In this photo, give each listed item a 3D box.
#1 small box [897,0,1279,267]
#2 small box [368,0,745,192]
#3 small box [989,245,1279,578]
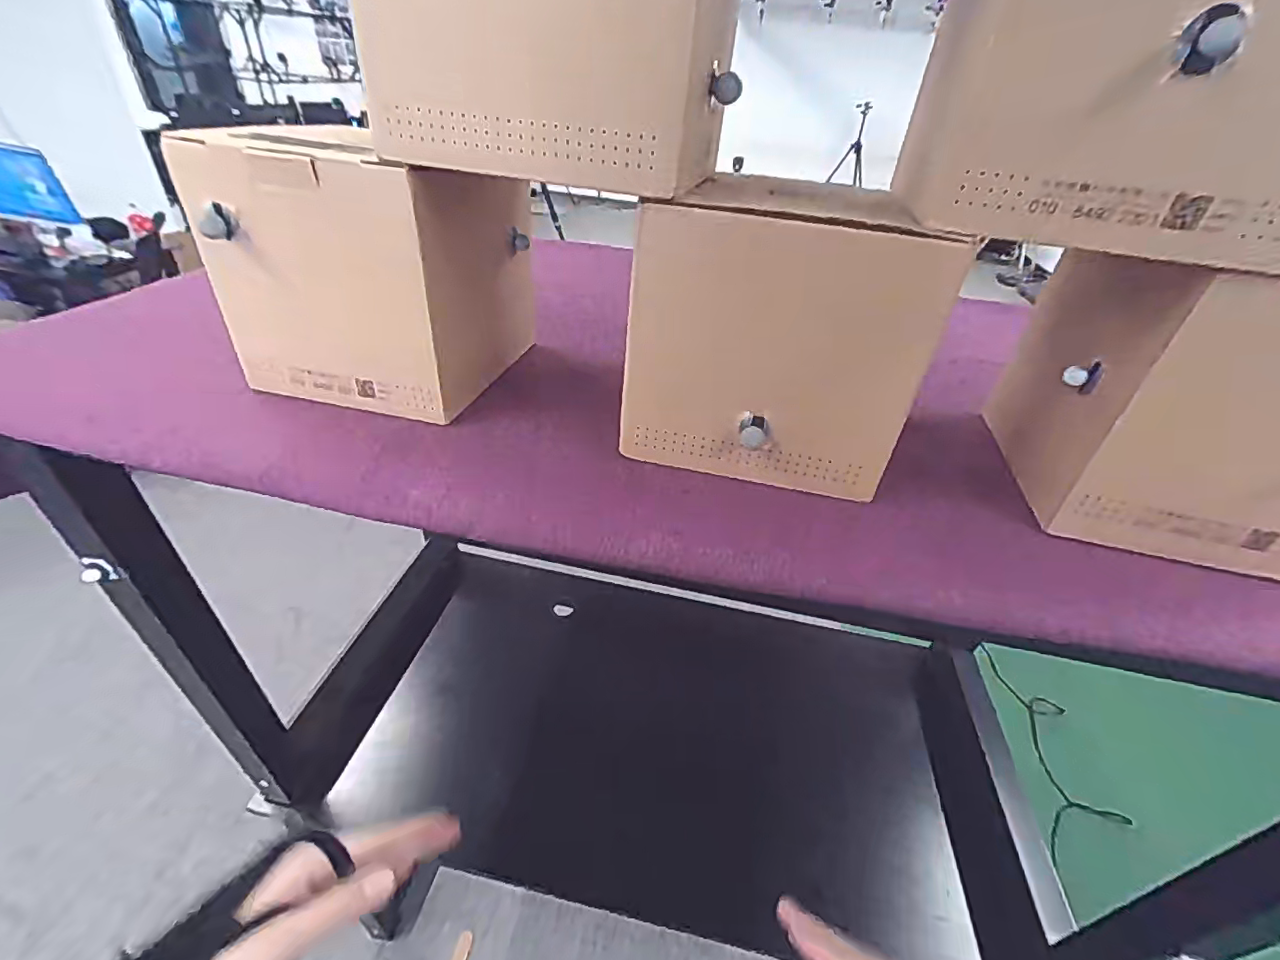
[{"bbox_3d":[0.250,-0.219,0.276,0.168,0.176,0.179,13,36,10],"label":"small box"},{"bbox_3d":[-0.037,-0.271,0.307,0.179,0.176,0.168,13,36,8],"label":"small box"},{"bbox_3d":[0.365,-0.059,0.351,0.168,0.176,0.179,13,35,11],"label":"small box"}]
